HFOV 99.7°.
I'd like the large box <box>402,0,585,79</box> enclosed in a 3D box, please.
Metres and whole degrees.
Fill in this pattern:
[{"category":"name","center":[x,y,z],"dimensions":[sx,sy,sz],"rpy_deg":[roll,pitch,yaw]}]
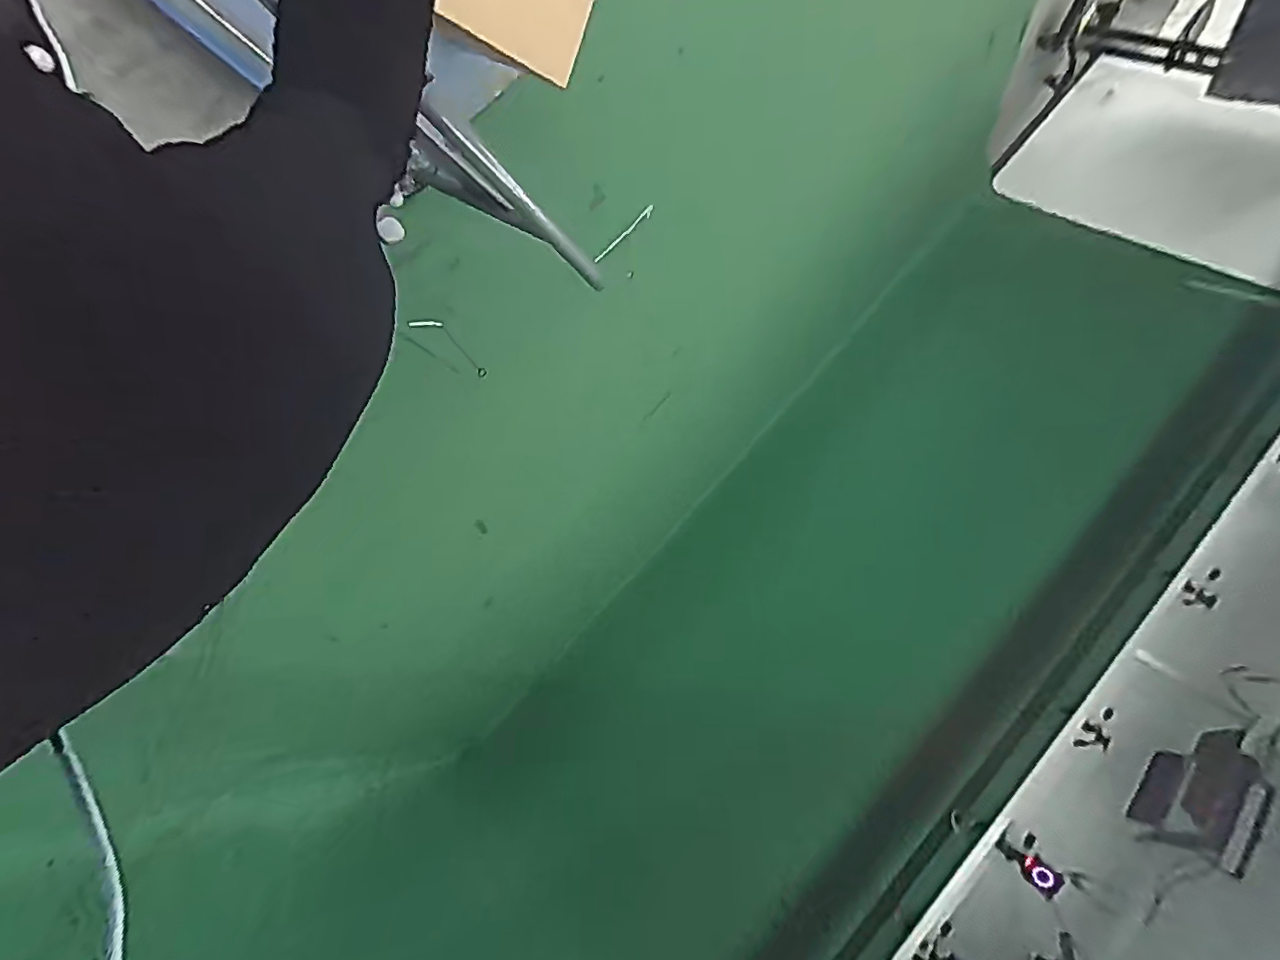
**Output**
[{"category":"large box","center":[-0.311,-0.943,0.877],"dimensions":[0.408,0.320,0.320],"rpy_deg":[-11,135,-51]}]
